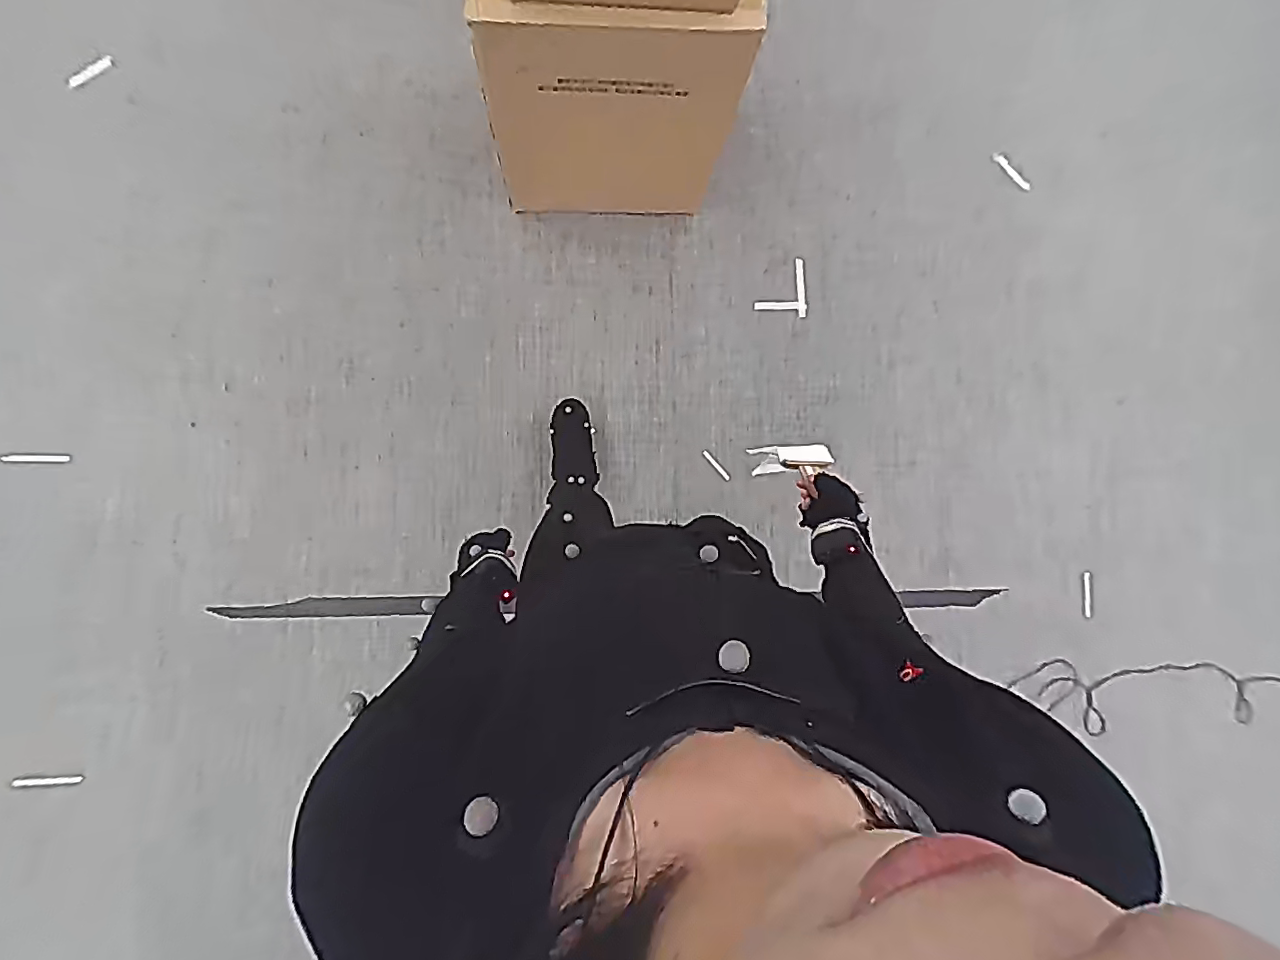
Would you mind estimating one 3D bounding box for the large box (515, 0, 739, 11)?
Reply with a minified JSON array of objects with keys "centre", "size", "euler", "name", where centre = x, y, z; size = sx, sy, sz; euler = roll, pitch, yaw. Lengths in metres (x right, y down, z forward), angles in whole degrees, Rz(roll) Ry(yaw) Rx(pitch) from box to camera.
[{"centre":[-0.016,-0.978,0.802],"size":[0.408,0.320,0.320],"euler":[-3,89,-7],"name":"large box"}]
